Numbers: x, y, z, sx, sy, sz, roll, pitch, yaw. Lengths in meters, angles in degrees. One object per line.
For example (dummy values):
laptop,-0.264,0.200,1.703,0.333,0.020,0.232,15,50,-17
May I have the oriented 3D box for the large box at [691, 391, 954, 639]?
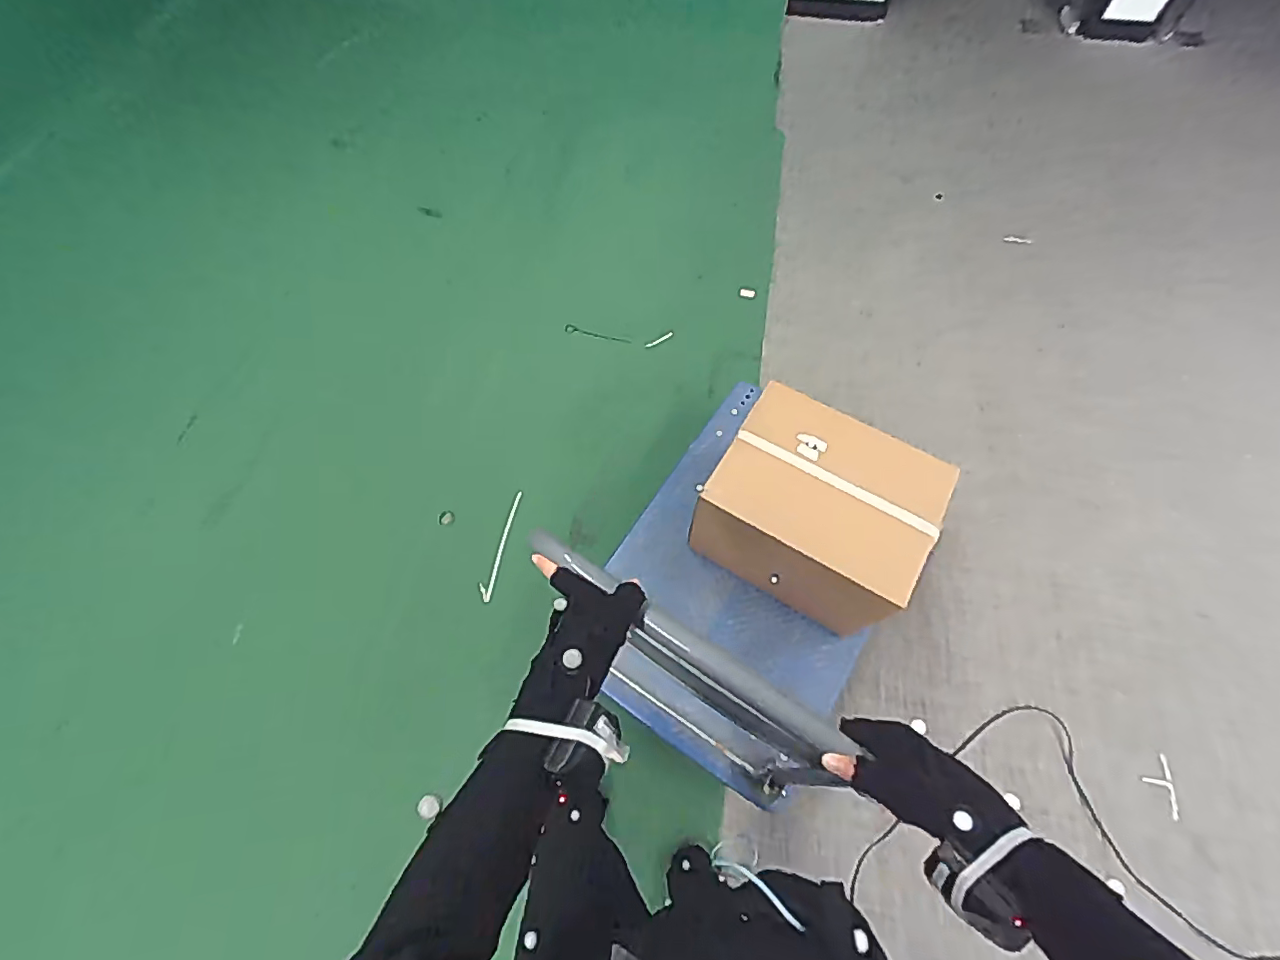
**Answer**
large box,0.359,0.084,1.155,0.408,0.320,0.320,29,67,15
